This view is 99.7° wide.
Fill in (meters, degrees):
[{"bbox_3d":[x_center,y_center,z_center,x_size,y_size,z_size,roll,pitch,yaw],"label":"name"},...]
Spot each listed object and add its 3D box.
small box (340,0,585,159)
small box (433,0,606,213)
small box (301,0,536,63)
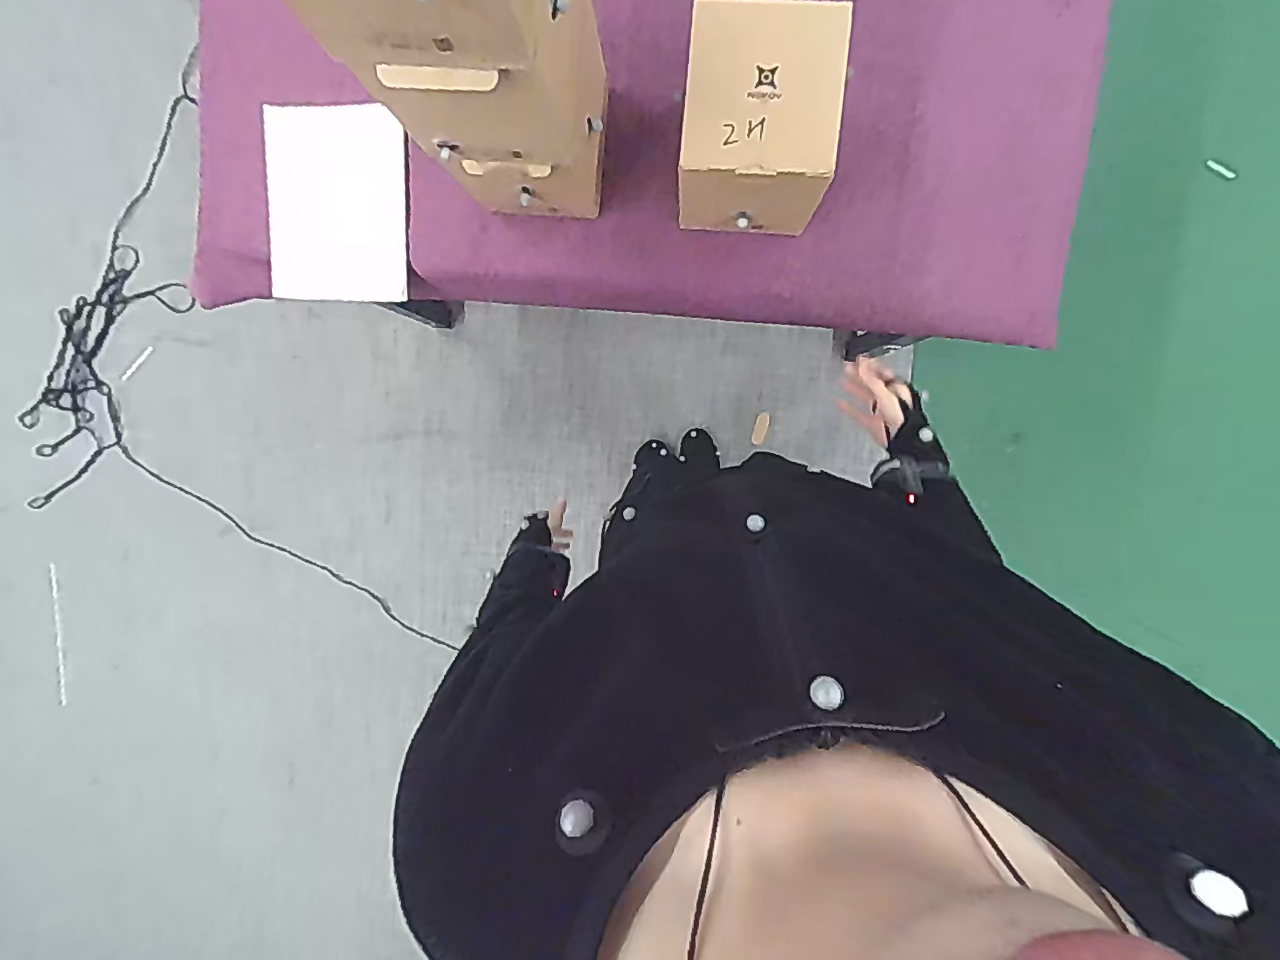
[{"bbox_3d":[-0.150,-0.432,0.507,0.168,0.176,0.179,6,95,4],"label":"small box"},{"bbox_3d":[-0.138,-0.453,0.670,0.168,0.176,0.179,6,96,3],"label":"small box"},{"bbox_3d":[-0.162,-0.413,0.345,0.168,0.176,0.179,7,95,3],"label":"small box"}]
